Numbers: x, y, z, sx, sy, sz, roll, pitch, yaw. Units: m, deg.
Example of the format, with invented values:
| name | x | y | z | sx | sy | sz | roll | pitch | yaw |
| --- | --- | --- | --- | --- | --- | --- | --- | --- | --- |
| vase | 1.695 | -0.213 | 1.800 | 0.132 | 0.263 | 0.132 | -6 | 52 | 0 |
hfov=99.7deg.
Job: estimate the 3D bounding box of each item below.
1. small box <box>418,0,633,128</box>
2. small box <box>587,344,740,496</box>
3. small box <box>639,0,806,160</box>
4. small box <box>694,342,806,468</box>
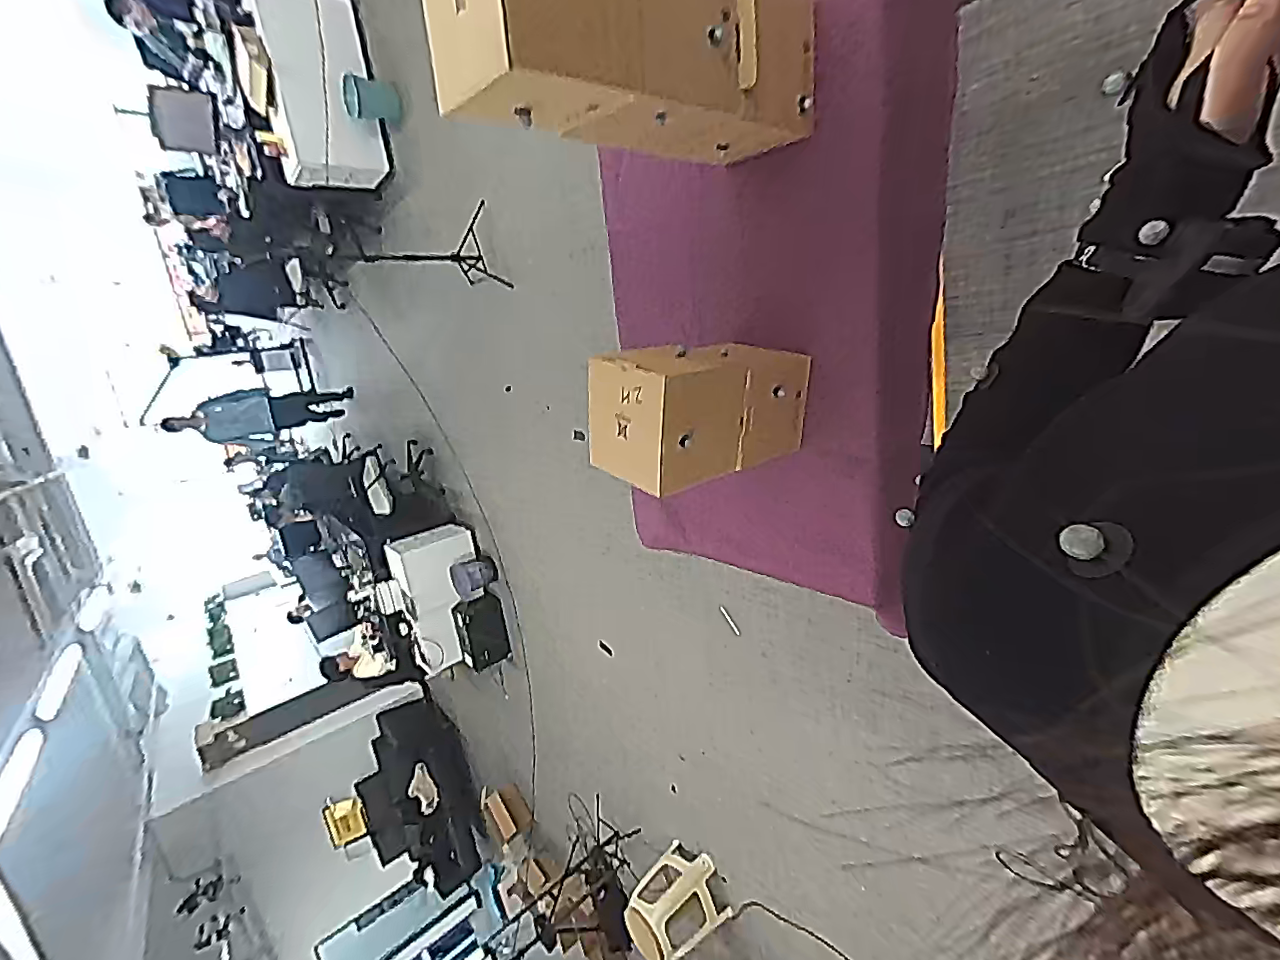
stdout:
| name | x | y | z | sx | sy | sz | roll | pitch | yaw |
| --- | --- | --- | --- | --- | --- | --- | --- | --- | --- |
| small box | -0.121 | -0.496 | 0.576 | 0.168 | 0.176 | 0.179 | 18 | 118 | 46 |
| small box | 0.035 | -0.101 | 0.826 | 0.168 | 0.176 | 0.179 | 25 | 123 | 42 |
| small box | 0.123 | -0.577 | 0.778 | 0.179 | 0.176 | 0.168 | 15 | 117 | 49 |
| small box | 0.160 | -0.138 | 0.926 | 0.179 | 0.176 | 0.168 | 25 | 123 | 44 |
